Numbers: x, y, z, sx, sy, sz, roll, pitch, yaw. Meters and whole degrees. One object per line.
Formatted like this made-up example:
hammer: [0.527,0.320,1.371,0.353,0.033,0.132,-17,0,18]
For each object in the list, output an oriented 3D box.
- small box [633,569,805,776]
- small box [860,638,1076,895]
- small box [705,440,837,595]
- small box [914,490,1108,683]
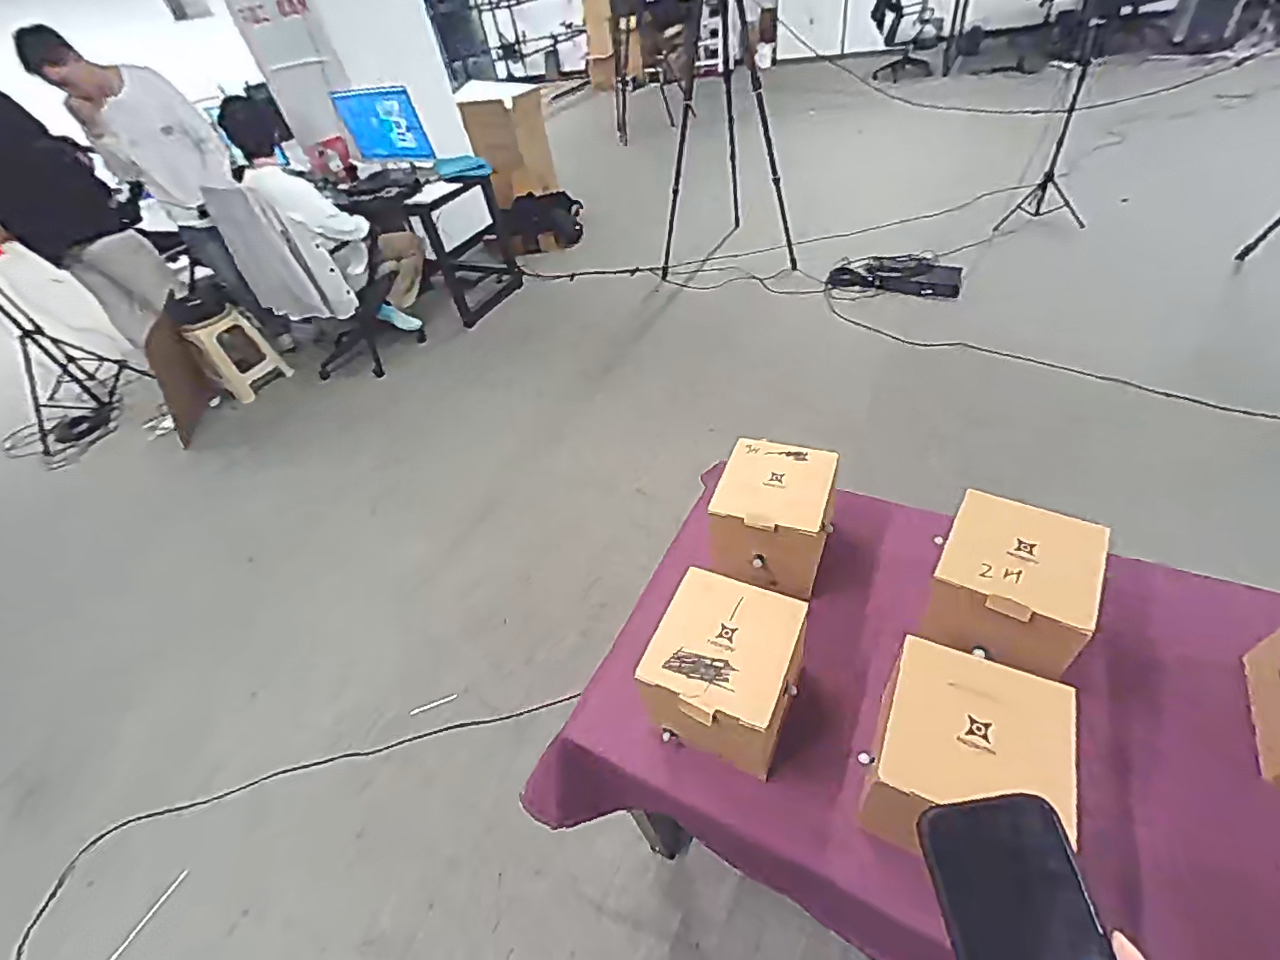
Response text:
small box: [0.112,0.255,0.719,0.168,0.176,0.179,14,48,25]
small box: [0.353,0.316,0.602,0.168,0.176,0.179,15,49,25]
small box: [0.218,0.063,0.891,0.168,0.176,0.179,12,50,23]
small box: [0.494,0.150,0.738,0.168,0.176,0.179,21,53,31]
